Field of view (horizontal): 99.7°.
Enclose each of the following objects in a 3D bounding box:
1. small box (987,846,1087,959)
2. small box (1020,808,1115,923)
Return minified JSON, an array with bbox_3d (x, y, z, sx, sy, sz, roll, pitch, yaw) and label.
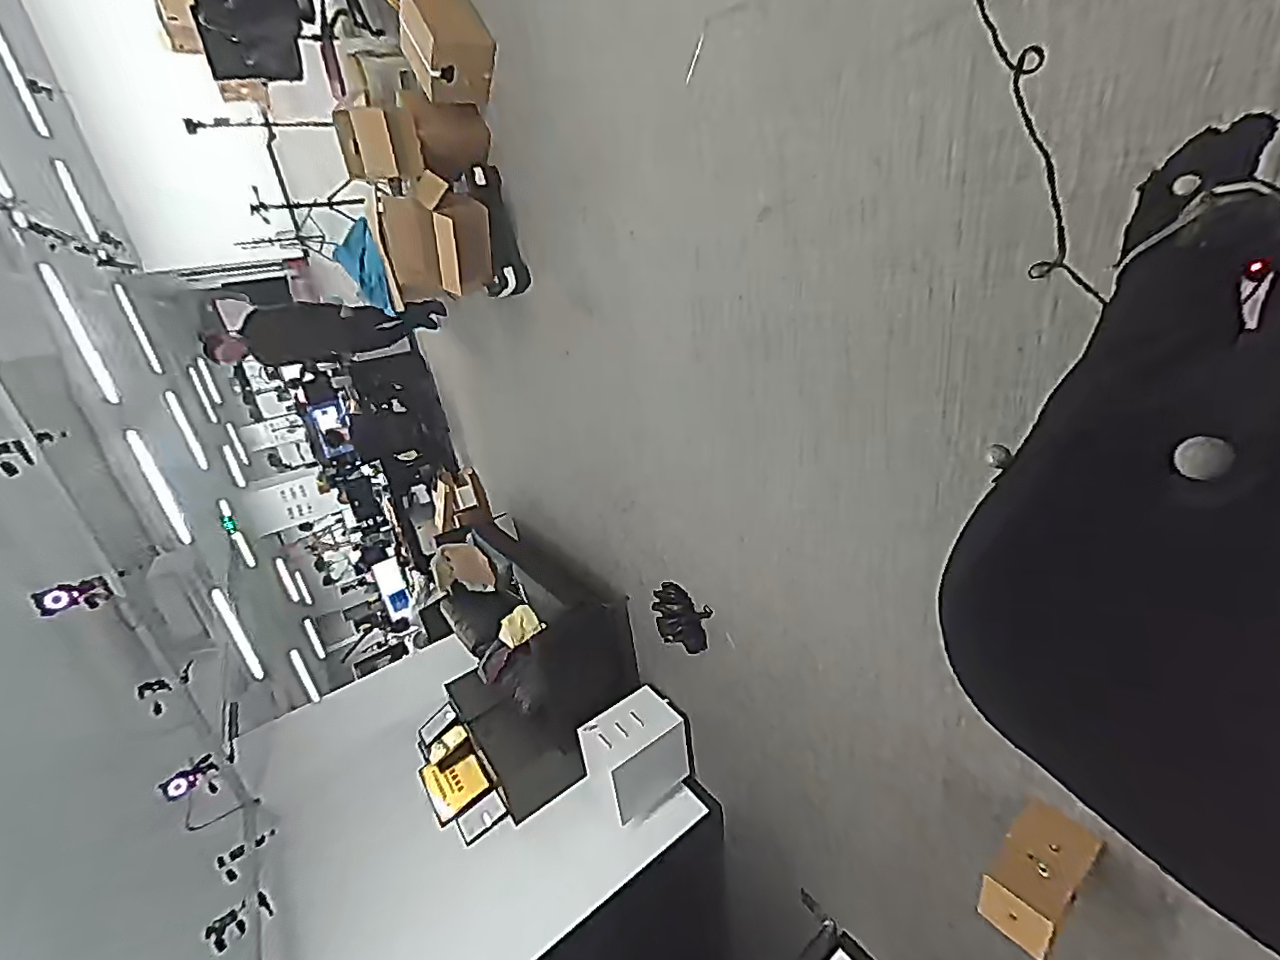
[{"bbox_3d":[1.083,1.164,1.475,0.168,0.176,0.179,21,125,50],"label":"small box"},{"bbox_3d":[1.225,1.100,1.561,0.179,0.176,0.168,23,127,51],"label":"small box"}]
